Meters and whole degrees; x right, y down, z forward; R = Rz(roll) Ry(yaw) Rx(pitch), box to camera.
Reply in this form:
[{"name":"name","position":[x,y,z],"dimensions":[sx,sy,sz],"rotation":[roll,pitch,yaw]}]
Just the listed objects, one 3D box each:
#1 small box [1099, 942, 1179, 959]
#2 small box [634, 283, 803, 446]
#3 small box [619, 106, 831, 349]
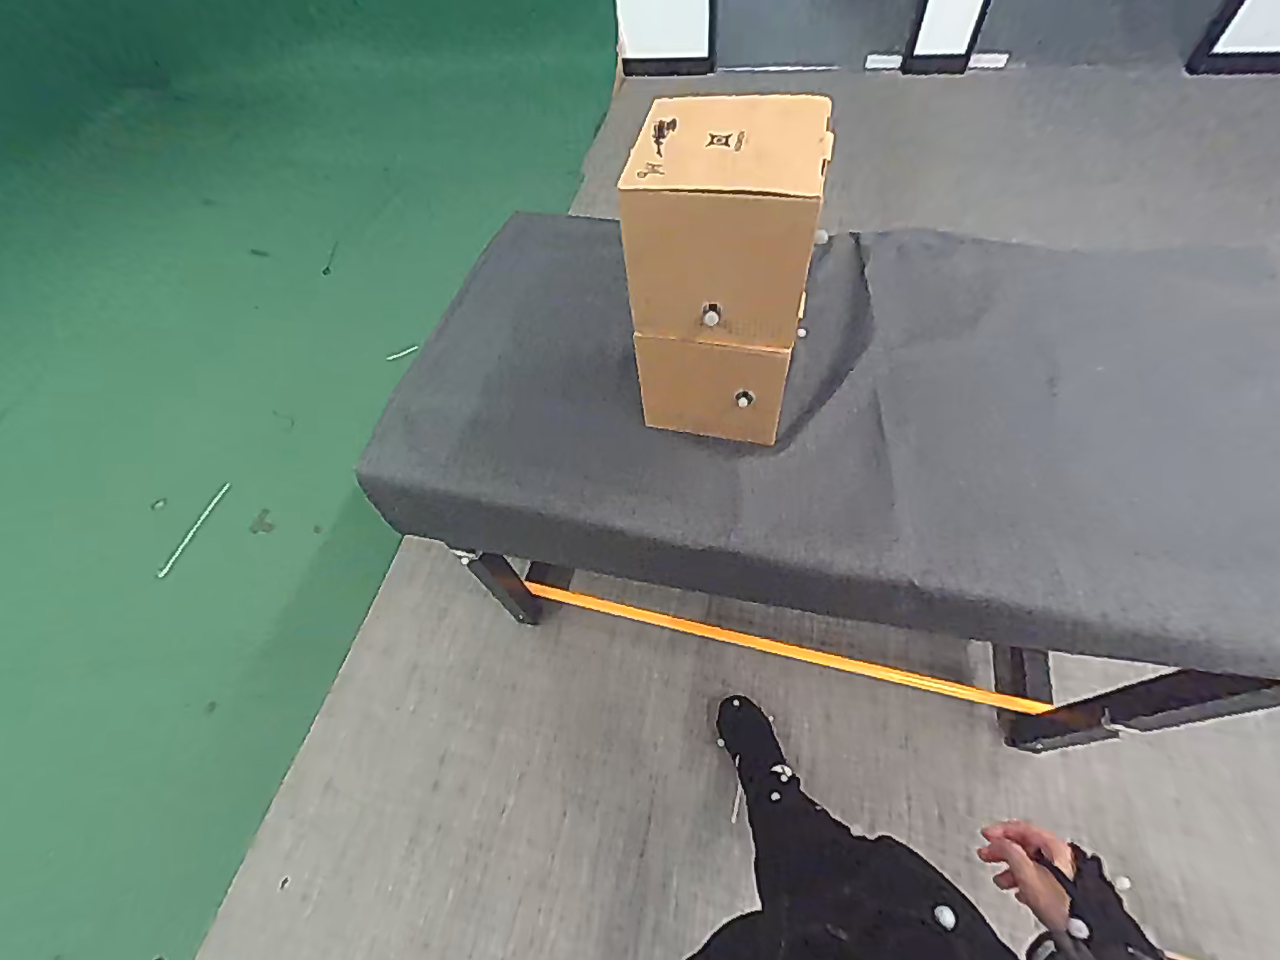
[{"name":"small box","position":[0.867,0.850,0.833],"dimensions":[0.179,0.176,0.168],"rotation":[10,58,12]},{"name":"small box","position":[0.103,-0.163,0.700],"dimensions":[0.179,0.176,0.168],"rotation":[9,58,12]},{"name":"small box","position":[0.089,-0.258,0.567],"dimensions":[0.179,0.176,0.168],"rotation":[9,58,11]}]
